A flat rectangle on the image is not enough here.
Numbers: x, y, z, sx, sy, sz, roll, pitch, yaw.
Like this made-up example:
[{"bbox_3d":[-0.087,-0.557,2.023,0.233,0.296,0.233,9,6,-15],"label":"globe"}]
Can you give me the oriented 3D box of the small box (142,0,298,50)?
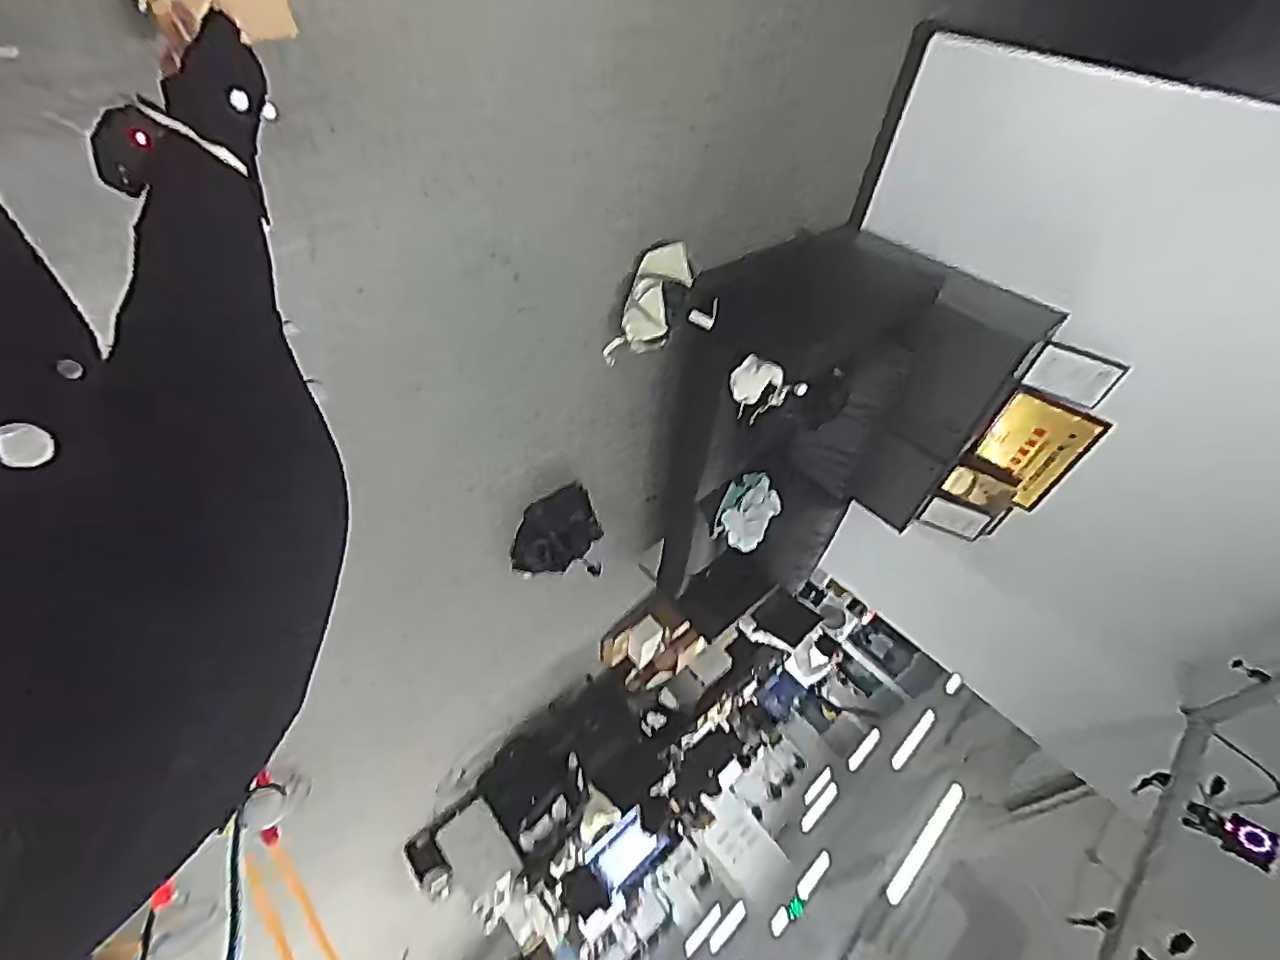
[{"bbox_3d":[-0.674,-0.785,0.824,0.179,0.176,0.168,-35,150,-26],"label":"small box"}]
